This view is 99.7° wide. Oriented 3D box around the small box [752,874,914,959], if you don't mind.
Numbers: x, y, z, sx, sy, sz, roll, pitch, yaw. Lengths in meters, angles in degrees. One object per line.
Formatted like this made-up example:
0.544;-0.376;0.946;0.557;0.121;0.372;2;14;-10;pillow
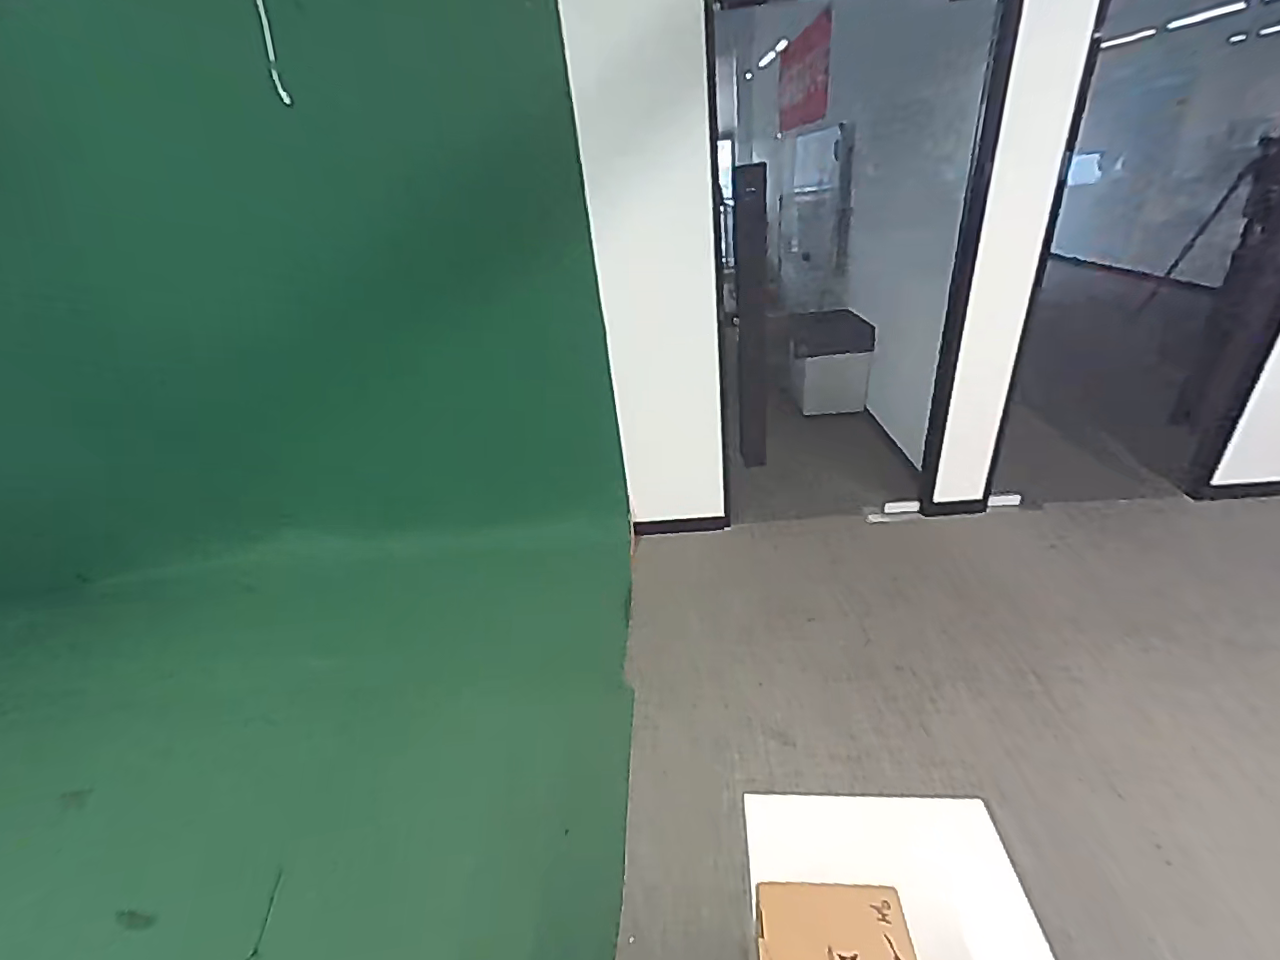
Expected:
0.233;0.618;0.662;0.179;0.176;0.168;-2;30;6;small box
